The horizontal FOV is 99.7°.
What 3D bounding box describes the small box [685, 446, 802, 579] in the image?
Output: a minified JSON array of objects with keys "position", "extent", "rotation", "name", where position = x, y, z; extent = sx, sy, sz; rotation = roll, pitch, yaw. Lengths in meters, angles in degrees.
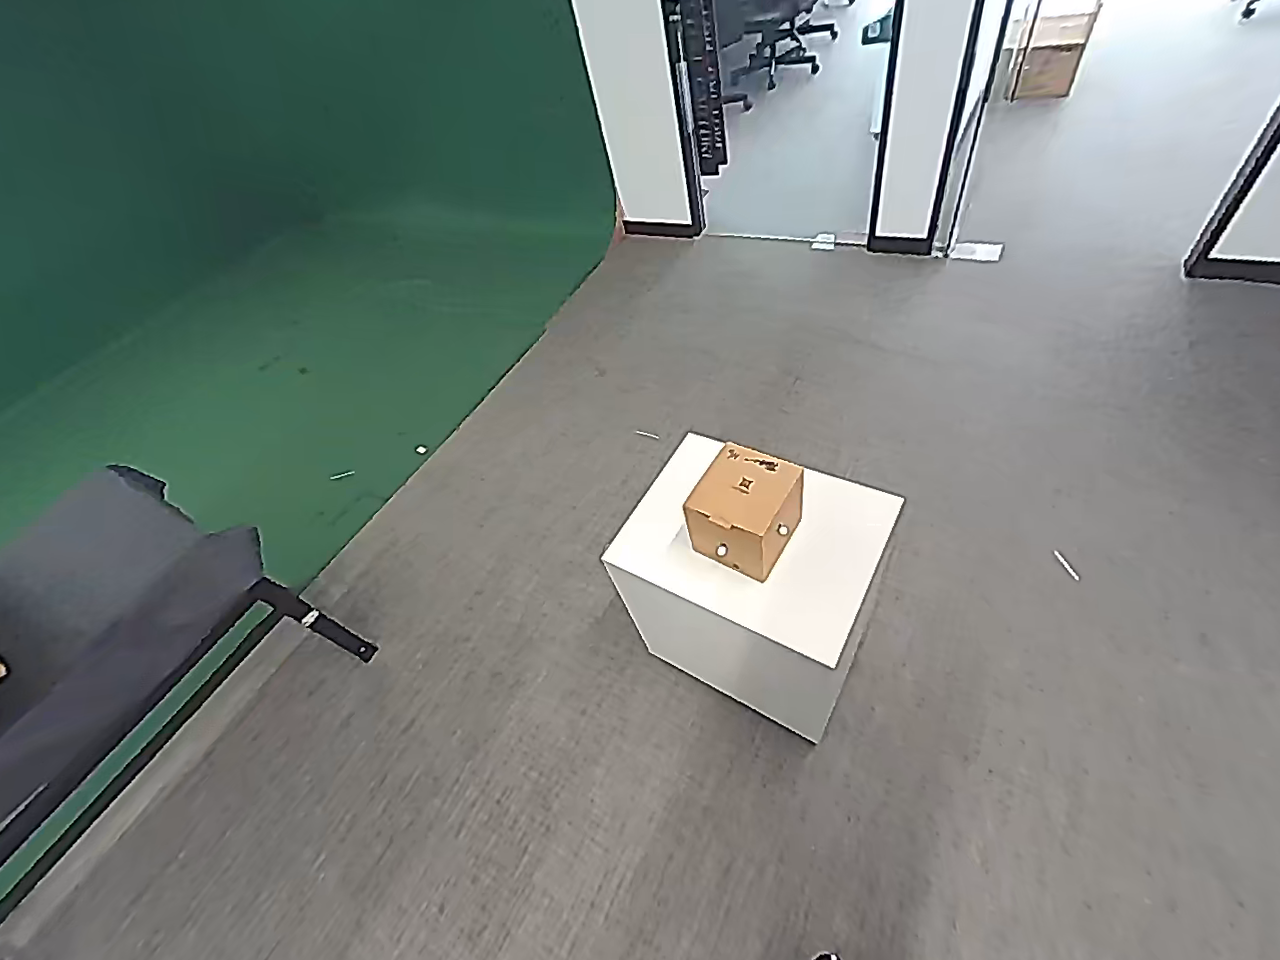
[{"position":[0.213,0.066,1.070],"extent":[0.168,0.176,0.179],"rotation":[20,59,28],"name":"small box"}]
